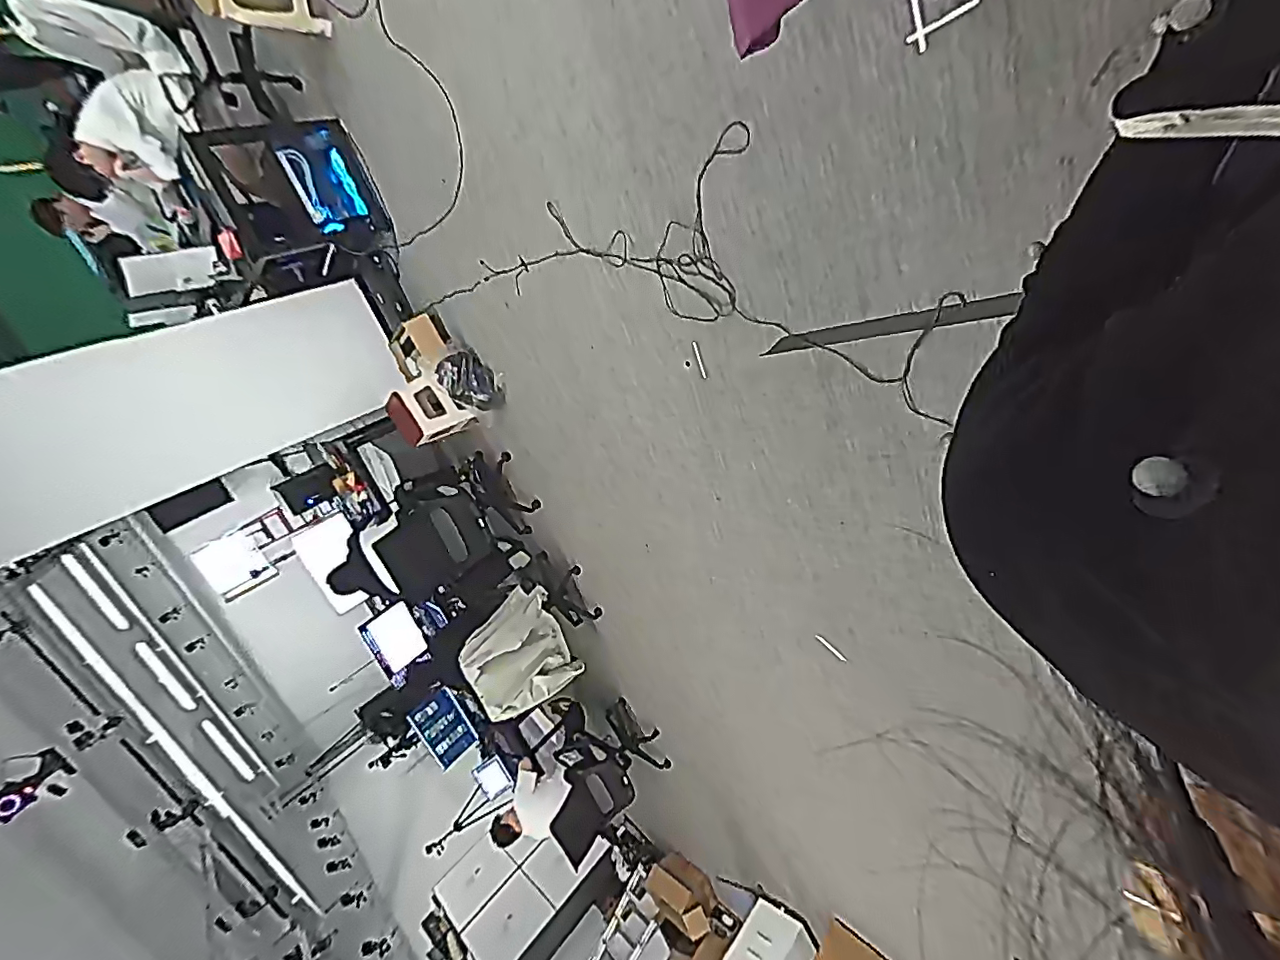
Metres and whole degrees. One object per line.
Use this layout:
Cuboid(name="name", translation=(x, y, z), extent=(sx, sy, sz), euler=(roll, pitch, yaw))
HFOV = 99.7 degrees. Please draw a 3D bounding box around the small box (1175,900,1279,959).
Cuboid(name="small box", translation=(1.398, 1.158, 1.278), extent=(0.179, 0.176, 0.168), euler=(2, 119, 50))
